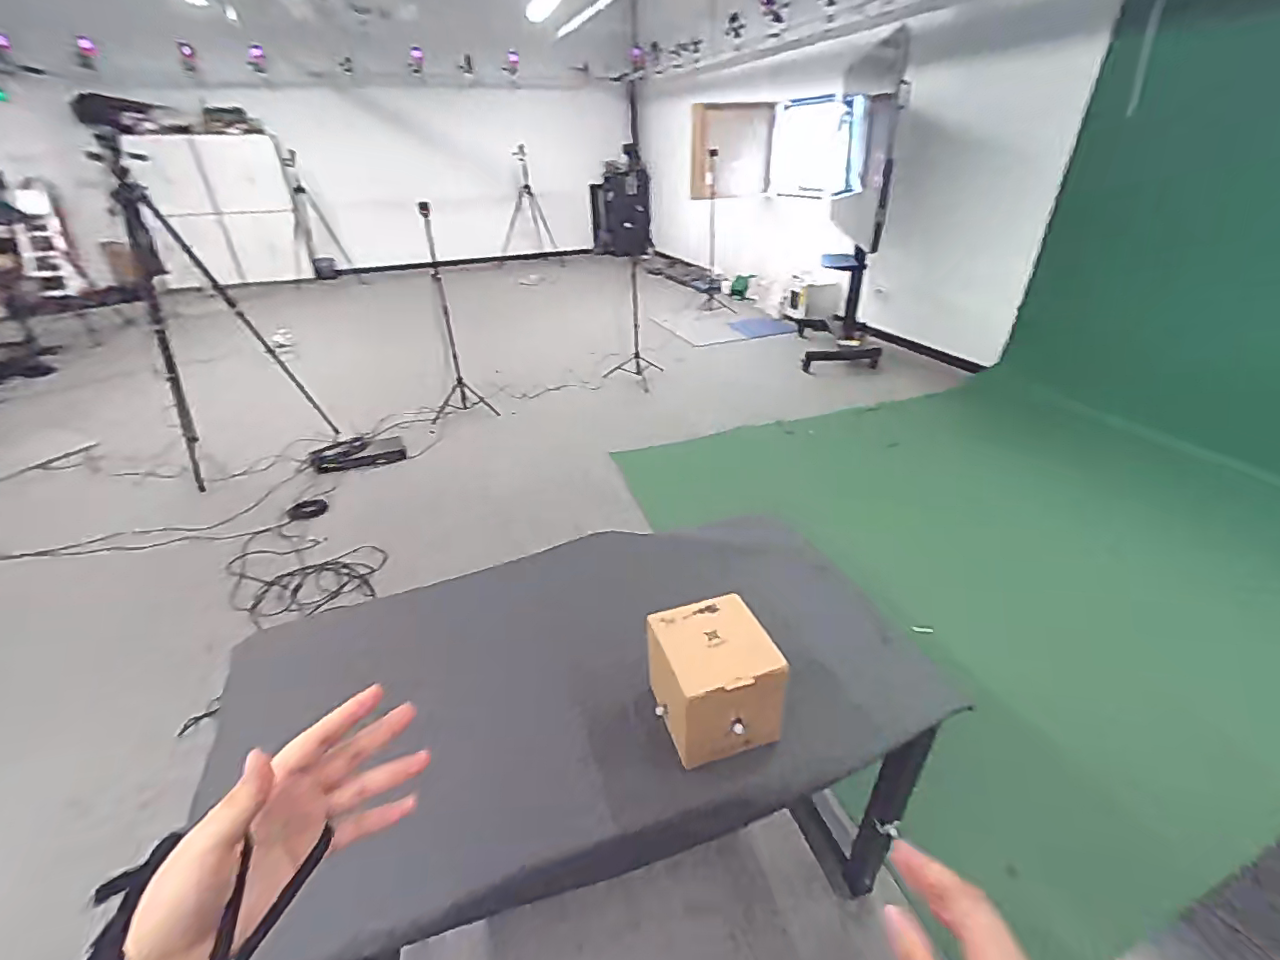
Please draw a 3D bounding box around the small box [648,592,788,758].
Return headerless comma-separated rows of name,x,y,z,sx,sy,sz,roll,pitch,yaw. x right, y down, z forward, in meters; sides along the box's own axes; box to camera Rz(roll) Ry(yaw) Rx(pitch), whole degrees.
small box,0.120,0.316,0.875,0.168,0.176,0.179,-12,31,-13
